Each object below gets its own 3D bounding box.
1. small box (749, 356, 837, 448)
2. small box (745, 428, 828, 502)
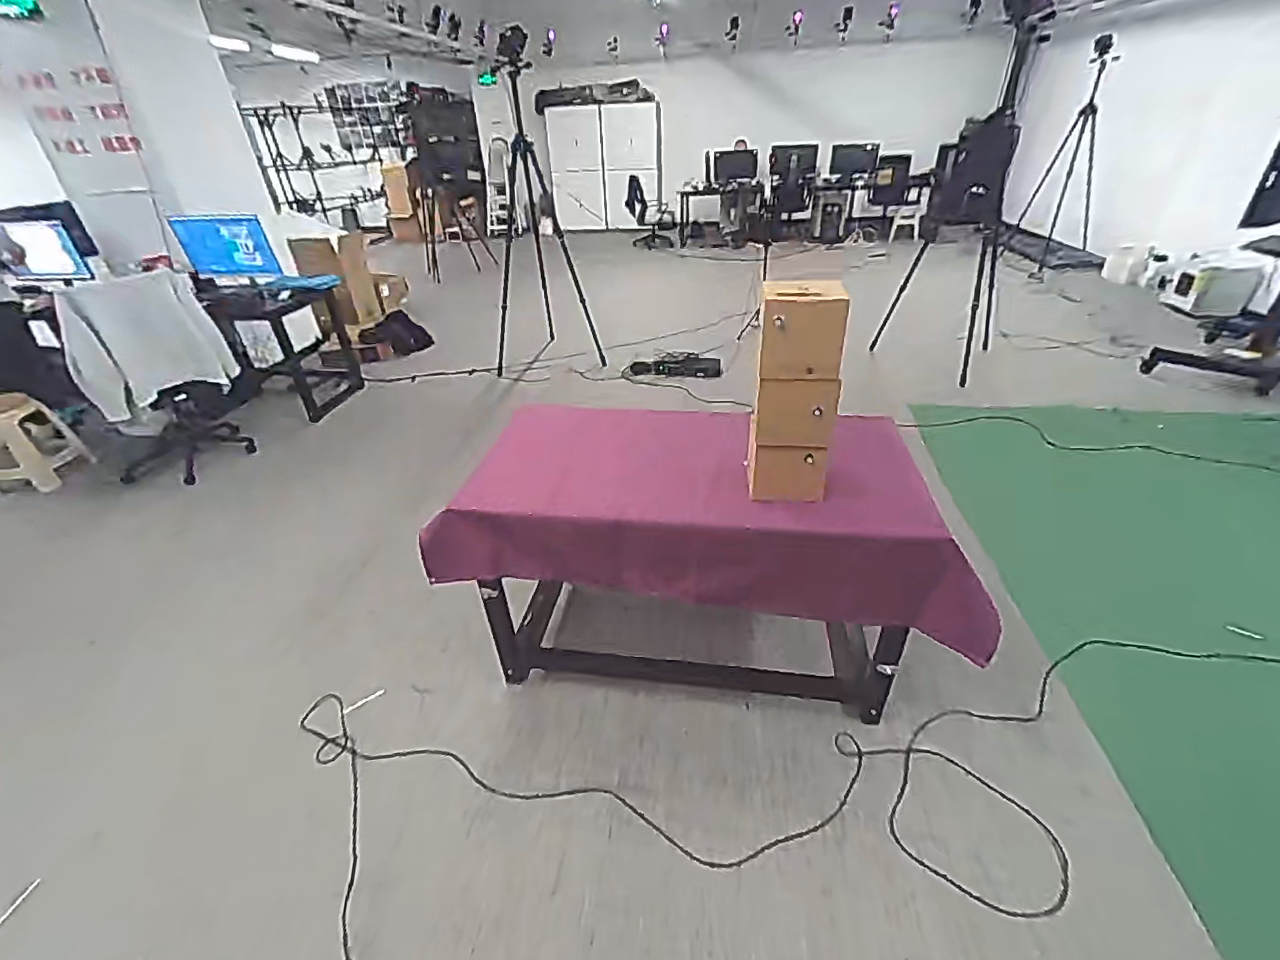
[{"bbox_3d":[0.354,-0.184,1.280,0.179,0.176,0.168,2,31,9],"label":"small box"},{"bbox_3d":[0.366,-0.054,1.380,0.179,0.176,0.168,1,31,7],"label":"small box"}]
